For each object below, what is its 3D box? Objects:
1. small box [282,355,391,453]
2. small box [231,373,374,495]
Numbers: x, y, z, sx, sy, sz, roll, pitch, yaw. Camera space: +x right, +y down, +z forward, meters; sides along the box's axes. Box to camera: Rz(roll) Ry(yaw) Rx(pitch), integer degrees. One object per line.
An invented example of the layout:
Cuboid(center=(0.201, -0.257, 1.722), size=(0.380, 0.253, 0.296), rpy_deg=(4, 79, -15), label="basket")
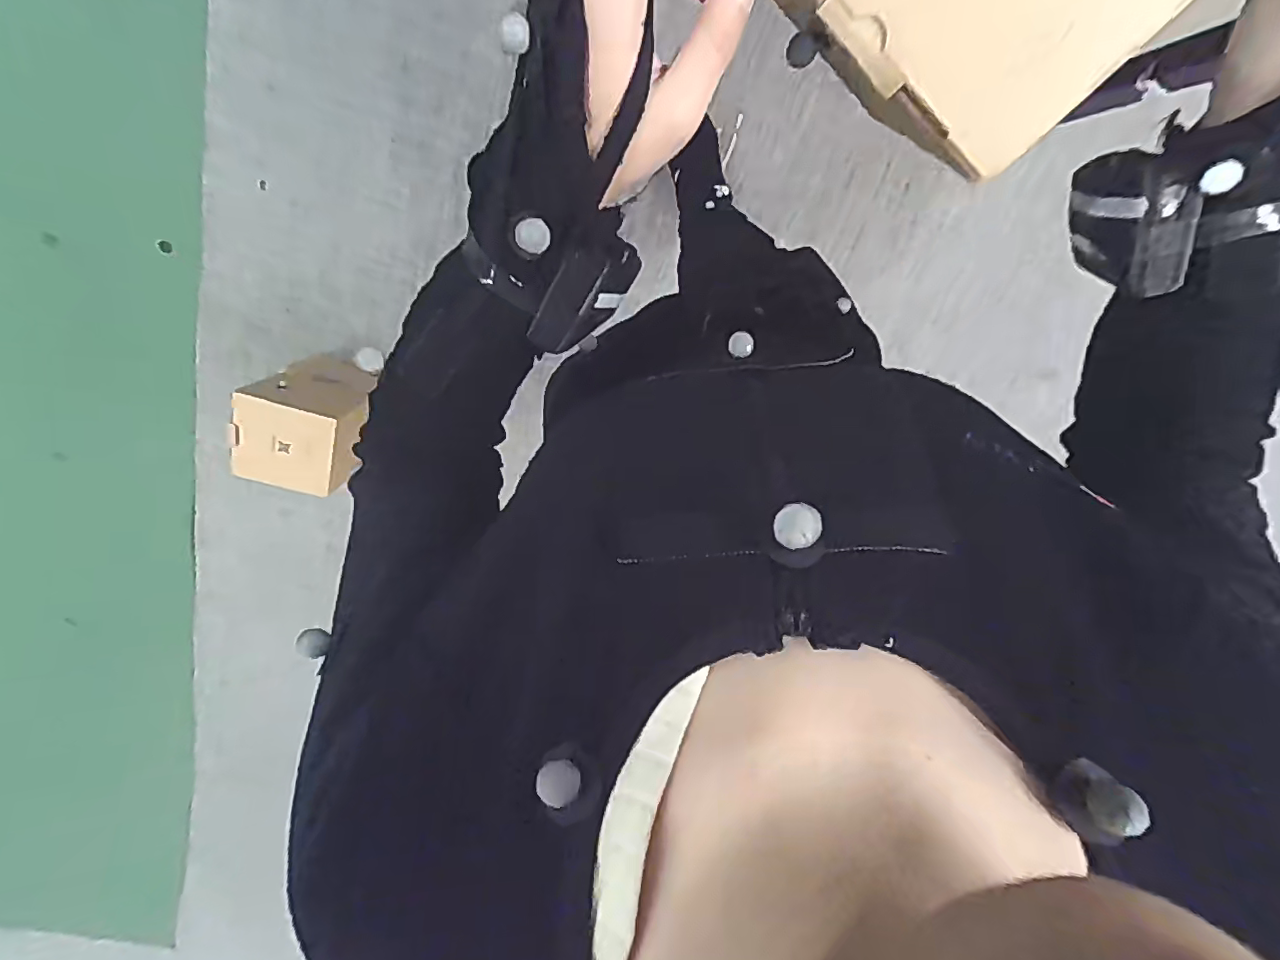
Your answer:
Cuboid(center=(-0.671, -0.159, 1.194), size=(0.168, 0.176, 0.179), rpy_deg=(18, 111, -11), label="small box")
Cuboid(center=(-0.646, -0.097, 1.045), size=(0.179, 0.176, 0.168), rpy_deg=(15, 112, -11), label="small box")
